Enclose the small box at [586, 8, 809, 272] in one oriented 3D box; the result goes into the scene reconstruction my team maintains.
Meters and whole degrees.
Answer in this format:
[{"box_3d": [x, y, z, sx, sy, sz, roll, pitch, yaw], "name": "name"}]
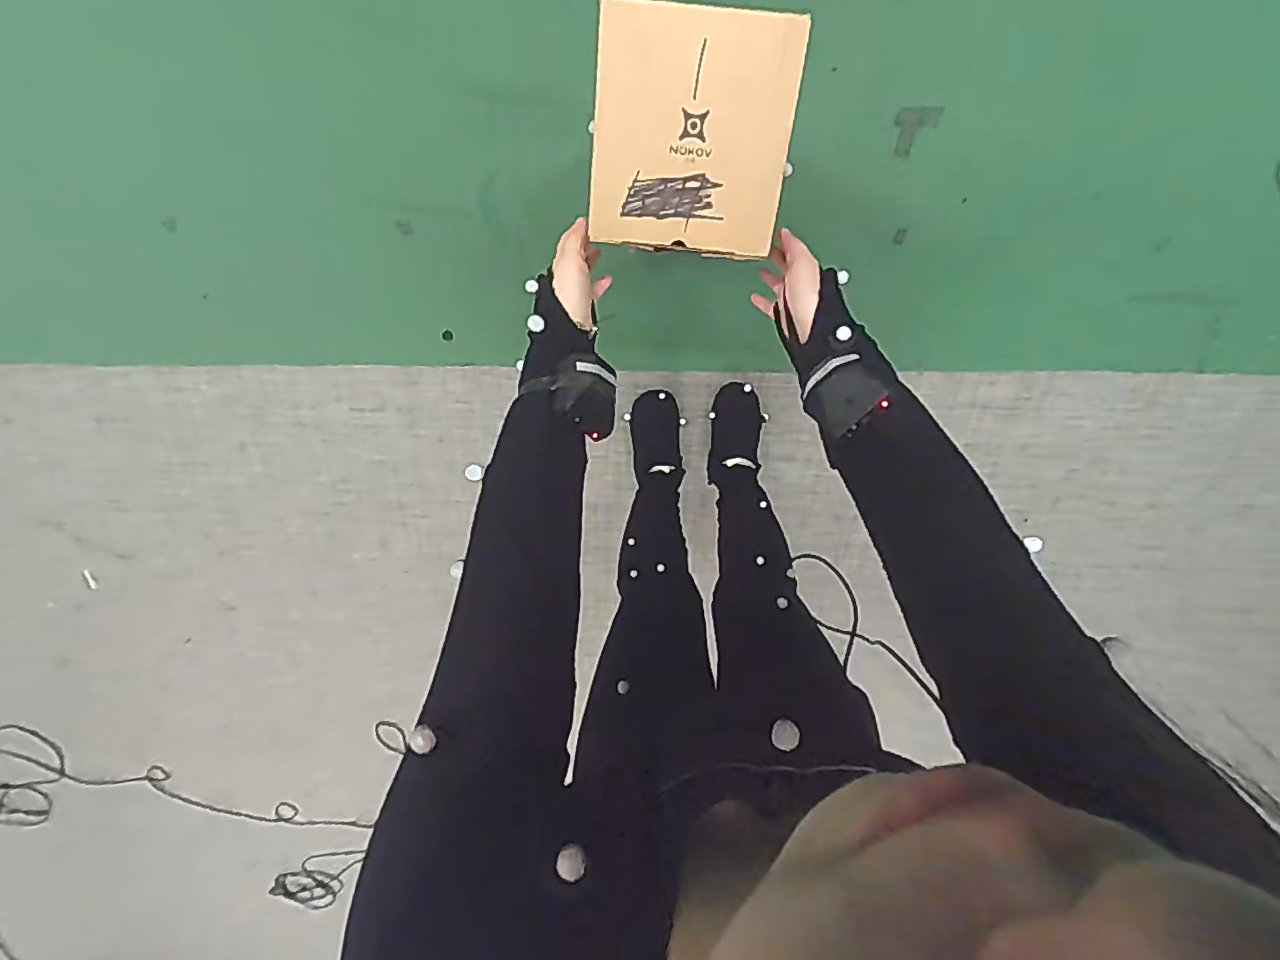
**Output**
[{"box_3d": [0.047, -0.309, 0.523, 0.168, 0.176, 0.179, 7, 115, 0], "name": "small box"}]
